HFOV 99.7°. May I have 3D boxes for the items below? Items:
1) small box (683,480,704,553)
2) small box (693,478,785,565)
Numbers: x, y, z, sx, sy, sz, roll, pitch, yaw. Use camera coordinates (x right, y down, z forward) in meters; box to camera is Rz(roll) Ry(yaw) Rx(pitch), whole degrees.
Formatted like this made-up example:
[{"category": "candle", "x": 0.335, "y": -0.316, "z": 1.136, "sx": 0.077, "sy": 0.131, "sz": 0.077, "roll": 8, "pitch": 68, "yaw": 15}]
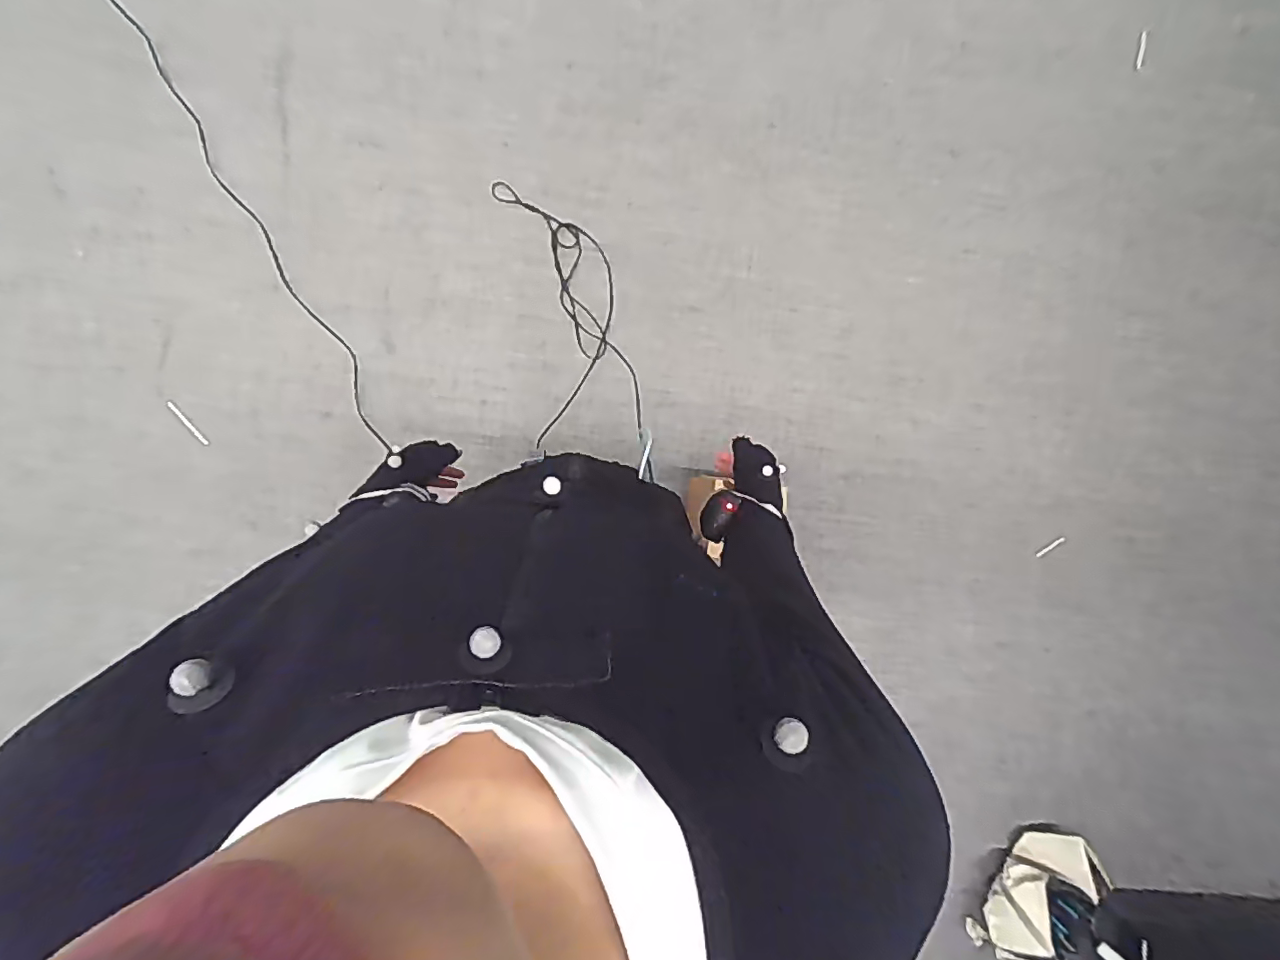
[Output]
[{"category": "small box", "x": 0.214, "y": 0.101, "z": 1.439, "sx": 0.168, "sy": 0.176, "sz": 0.179, "roll": 10, "pitch": 93, "yaw": -5}, {"category": "small box", "x": 0.225, "y": 0.091, "z": 1.274, "sx": 0.168, "sy": 0.176, "sz": 0.179, "roll": 7, "pitch": 93, "yaw": -5}]
